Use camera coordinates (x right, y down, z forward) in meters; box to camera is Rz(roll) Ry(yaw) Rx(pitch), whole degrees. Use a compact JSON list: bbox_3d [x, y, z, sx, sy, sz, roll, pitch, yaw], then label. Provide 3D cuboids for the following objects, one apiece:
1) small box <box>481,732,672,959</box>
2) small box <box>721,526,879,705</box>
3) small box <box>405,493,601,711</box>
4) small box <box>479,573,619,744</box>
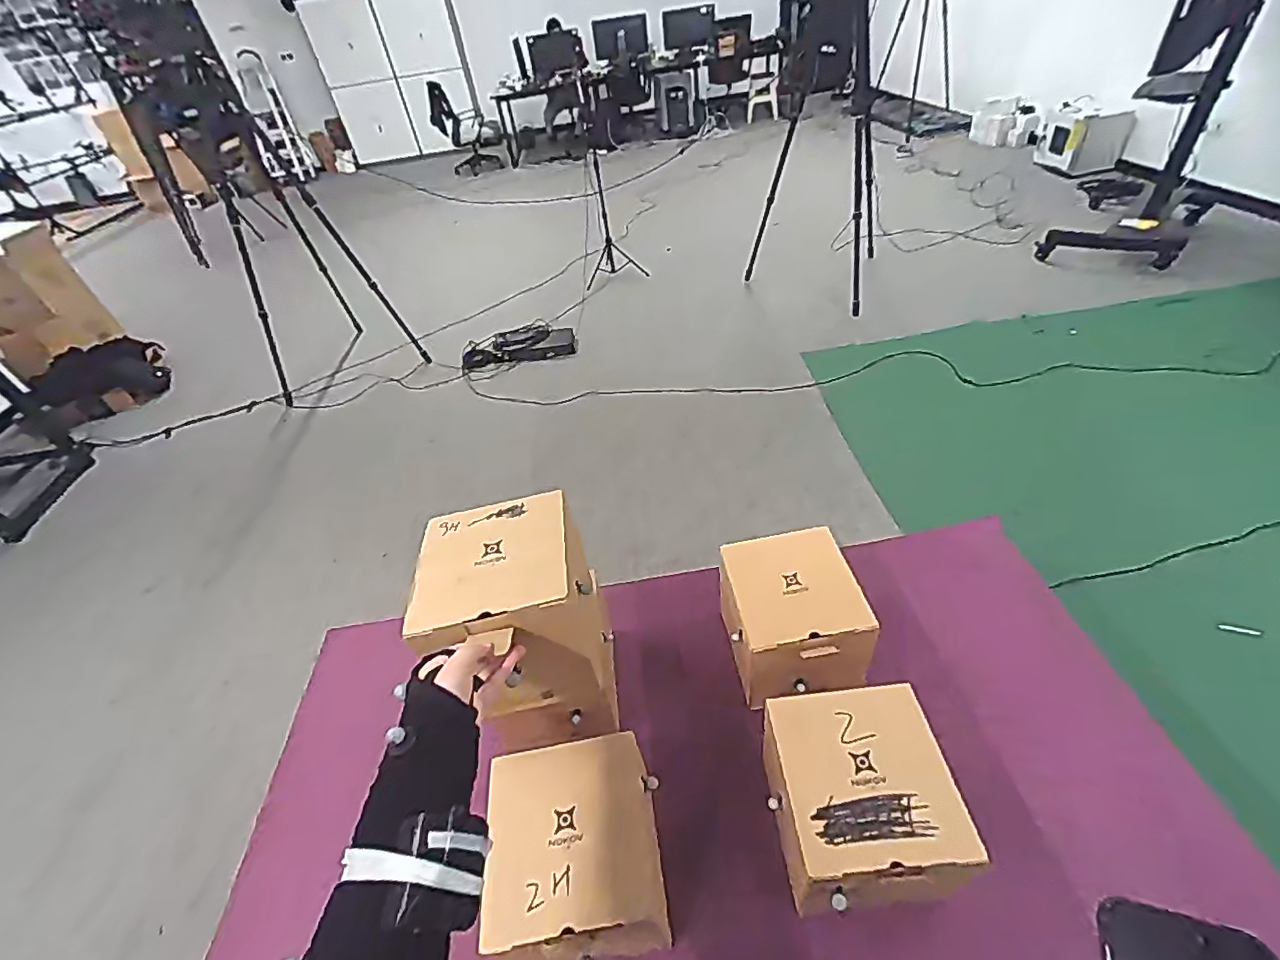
[{"bbox_3d":[-0.064,0.417,0.606,0.168,0.176,0.179,-12,42,0],"label":"small box"},{"bbox_3d":[0.218,0.197,0.789,0.168,0.176,0.179,-11,43,-1],"label":"small box"},{"bbox_3d":[-0.146,0.147,0.633,0.168,0.176,0.179,-12,38,-1],"label":"small box"},{"bbox_3d":[-0.125,0.264,0.786,0.168,0.176,0.179,-9,42,0],"label":"small box"}]
